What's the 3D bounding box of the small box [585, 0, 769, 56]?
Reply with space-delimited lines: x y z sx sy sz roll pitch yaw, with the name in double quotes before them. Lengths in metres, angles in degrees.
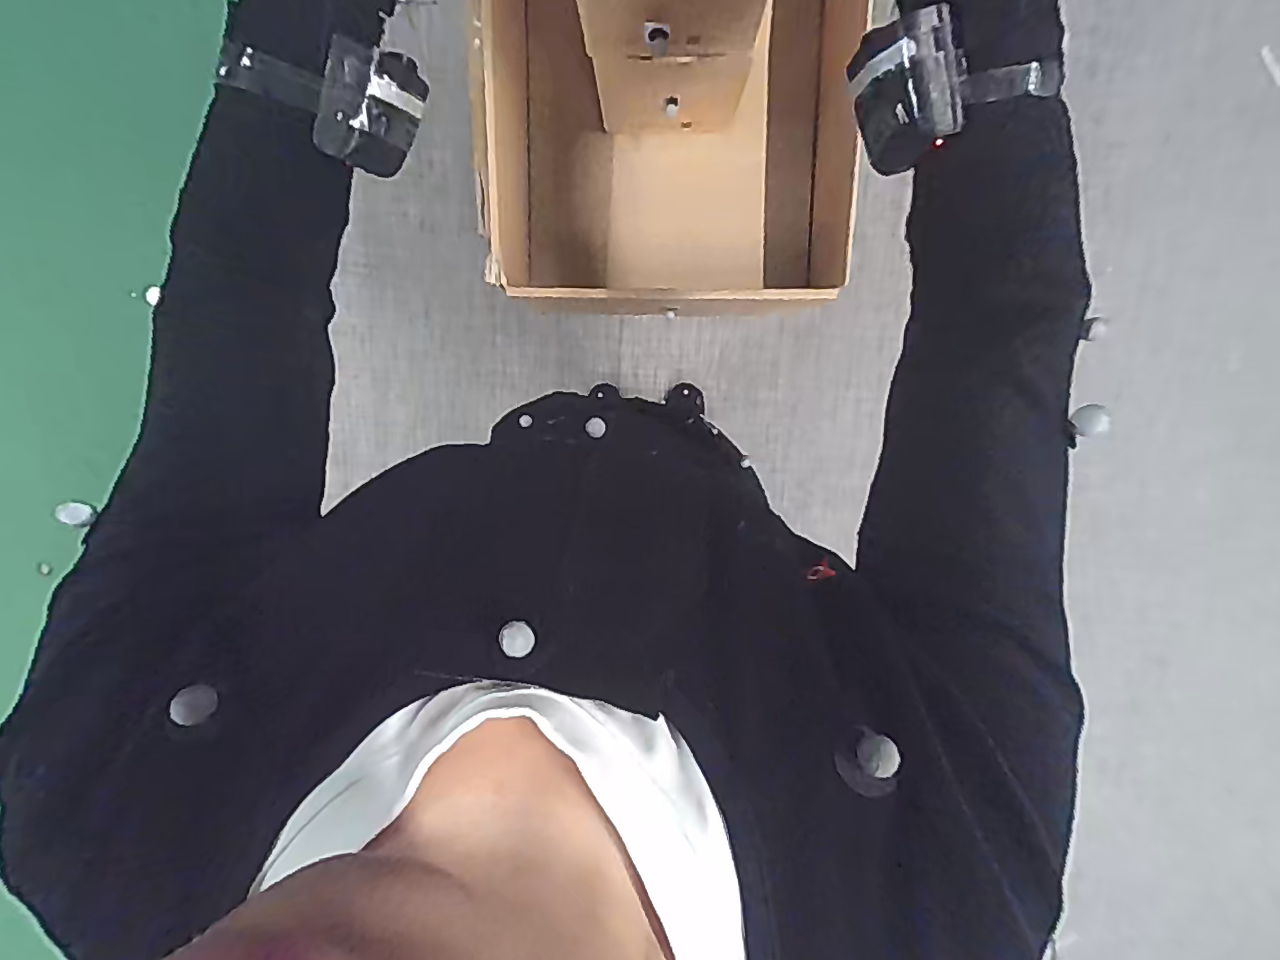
"small box" 0.029 -0.493 0.440 0.168 0.176 0.179 -1 101 3
